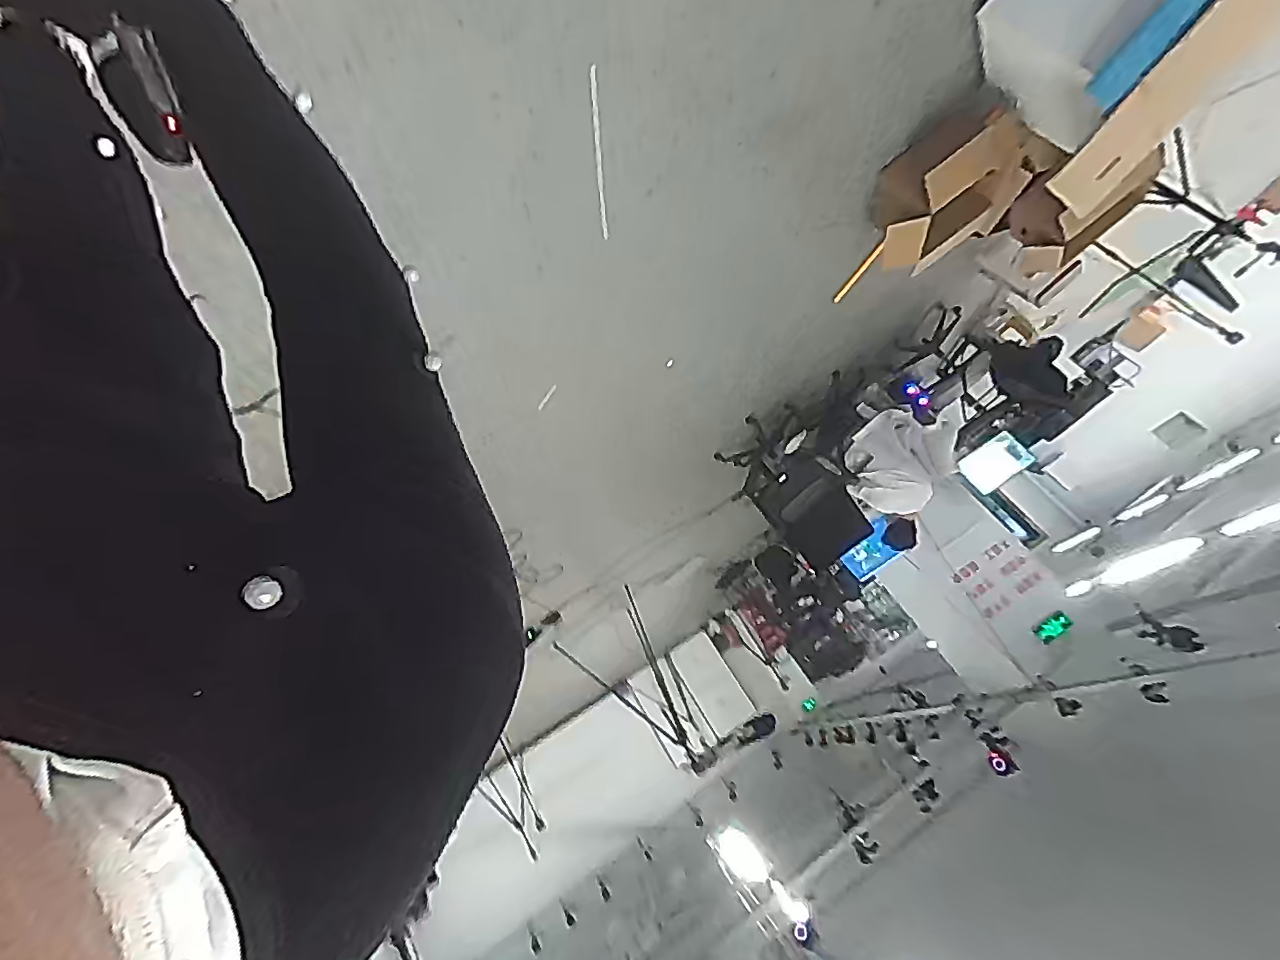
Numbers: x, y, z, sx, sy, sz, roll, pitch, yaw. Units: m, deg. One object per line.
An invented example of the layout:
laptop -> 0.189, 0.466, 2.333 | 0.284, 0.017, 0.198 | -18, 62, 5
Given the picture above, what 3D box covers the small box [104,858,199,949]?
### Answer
small box -> -1.639, 1.409, 1.817 | 0.168, 0.176, 0.179 | -28, 156, -20
